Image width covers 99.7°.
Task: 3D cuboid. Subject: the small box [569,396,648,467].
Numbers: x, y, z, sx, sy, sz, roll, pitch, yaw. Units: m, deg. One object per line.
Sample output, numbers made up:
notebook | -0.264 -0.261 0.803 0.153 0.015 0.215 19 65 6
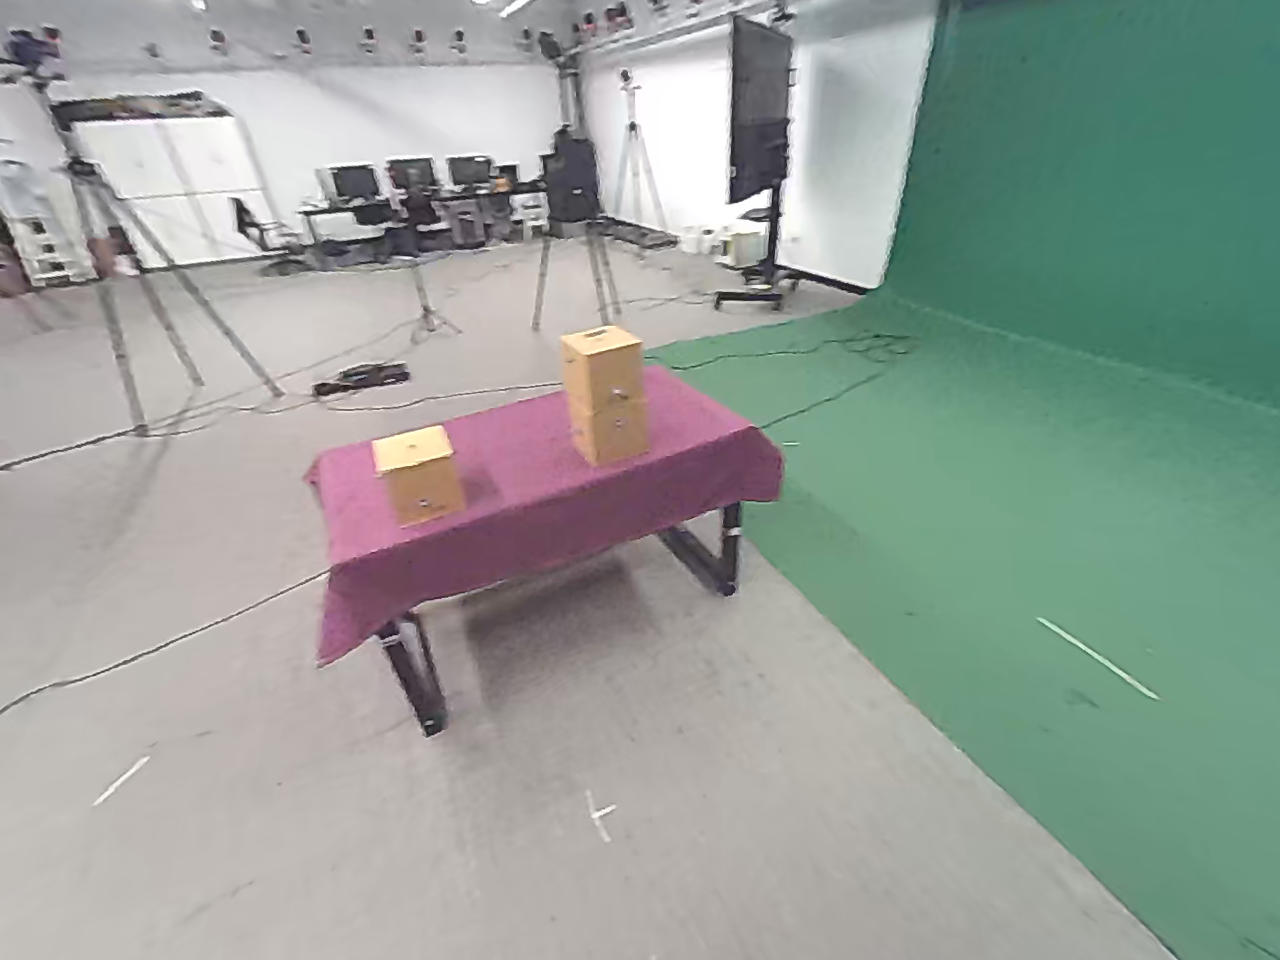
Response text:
small box | -0.086 -0.158 1.564 0.179 0.176 0.168 -18 36 -20

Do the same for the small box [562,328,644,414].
small box | -0.101 -0.299 1.480 0.168 0.176 0.179 -20 37 -22

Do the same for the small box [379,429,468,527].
small box | -0.553 -0.007 1.386 0.168 0.176 0.179 -18 36 -21
